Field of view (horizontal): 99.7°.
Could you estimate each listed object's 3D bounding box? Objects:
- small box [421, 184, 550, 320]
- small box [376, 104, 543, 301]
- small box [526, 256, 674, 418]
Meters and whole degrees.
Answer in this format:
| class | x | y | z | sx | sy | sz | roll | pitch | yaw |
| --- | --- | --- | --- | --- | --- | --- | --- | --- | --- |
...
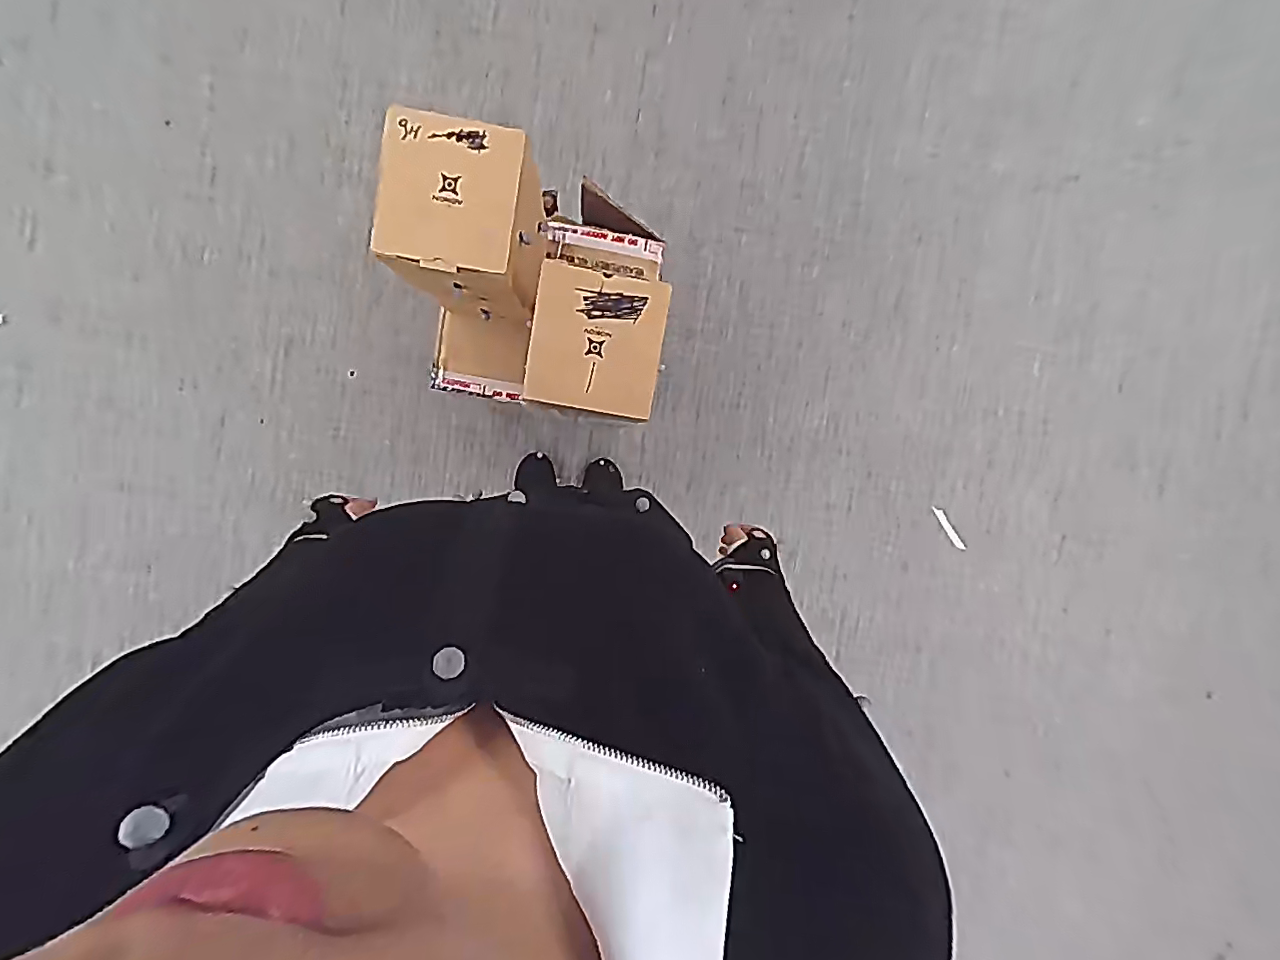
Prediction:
| class | x | y | z | sx | sy | sz | roll | pitch | yaw |
| --- | --- | --- | --- | --- | --- | --- | --- | --- | --- |
| small box | -0.245 | -0.378 | 0.892 | 0.168 | 0.176 | 0.179 | 7 | 95 | -4 |
| small box | -0.231 | -0.355 | 0.730 | 0.168 | 0.176 | 0.179 | 9 | 95 | -4 |
| small box | -0.057 | -0.187 | 0.760 | 0.168 | 0.176 | 0.179 | 9 | 95 | -5 |
